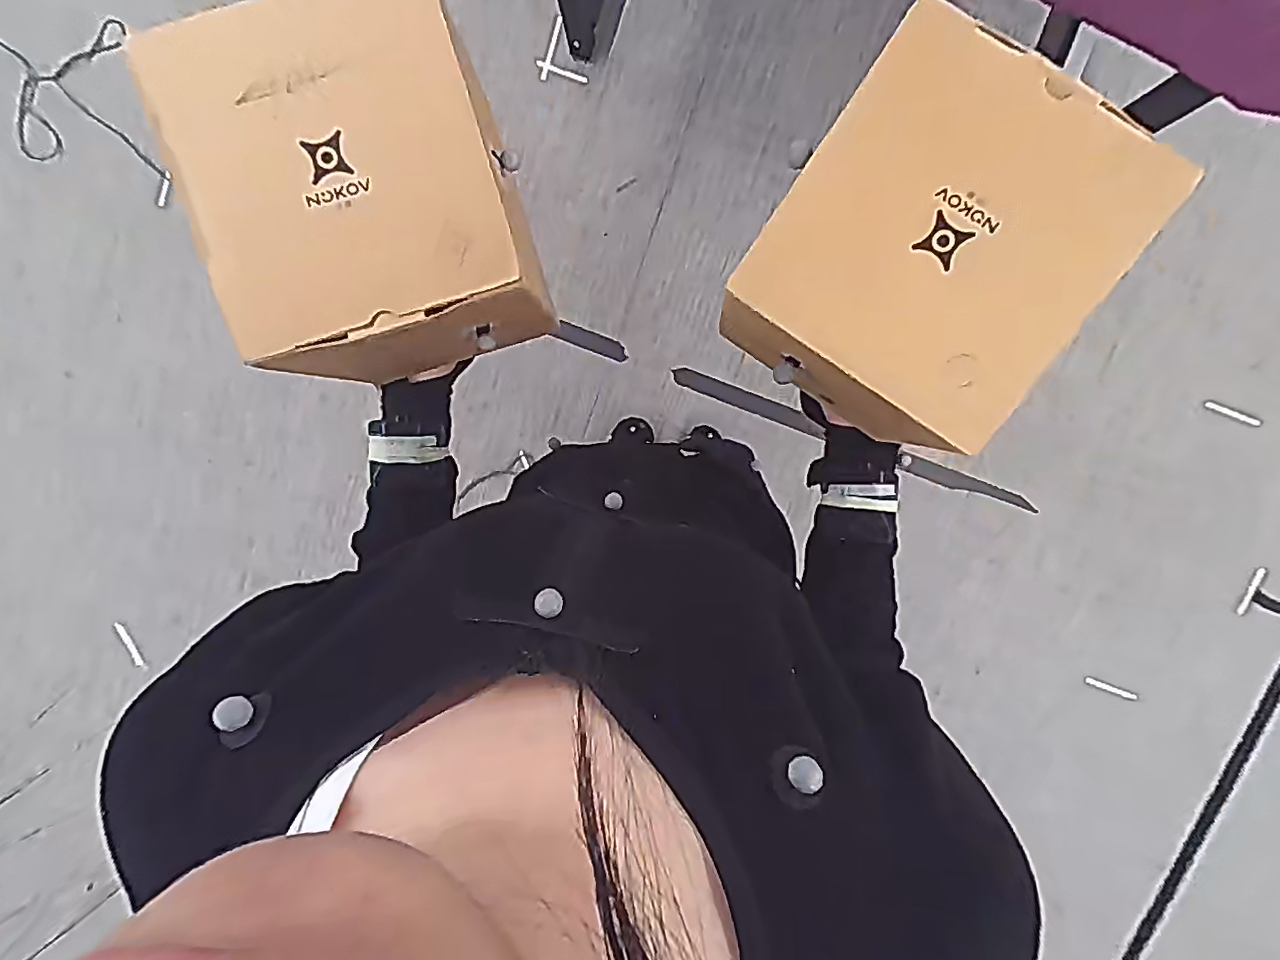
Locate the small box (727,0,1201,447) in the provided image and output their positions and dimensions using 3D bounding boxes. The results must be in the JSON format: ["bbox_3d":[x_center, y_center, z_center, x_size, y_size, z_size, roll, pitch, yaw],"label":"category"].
[{"bbox_3d":[0.174,-0.140,0.361,0.168,0.176,0.179,35,99,2],"label":"small box"}]

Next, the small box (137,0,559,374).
[{"bbox_3d":[-0.162,-0.177,0.369,0.168,0.176,0.179,-17,96,-1],"label":"small box"}]
